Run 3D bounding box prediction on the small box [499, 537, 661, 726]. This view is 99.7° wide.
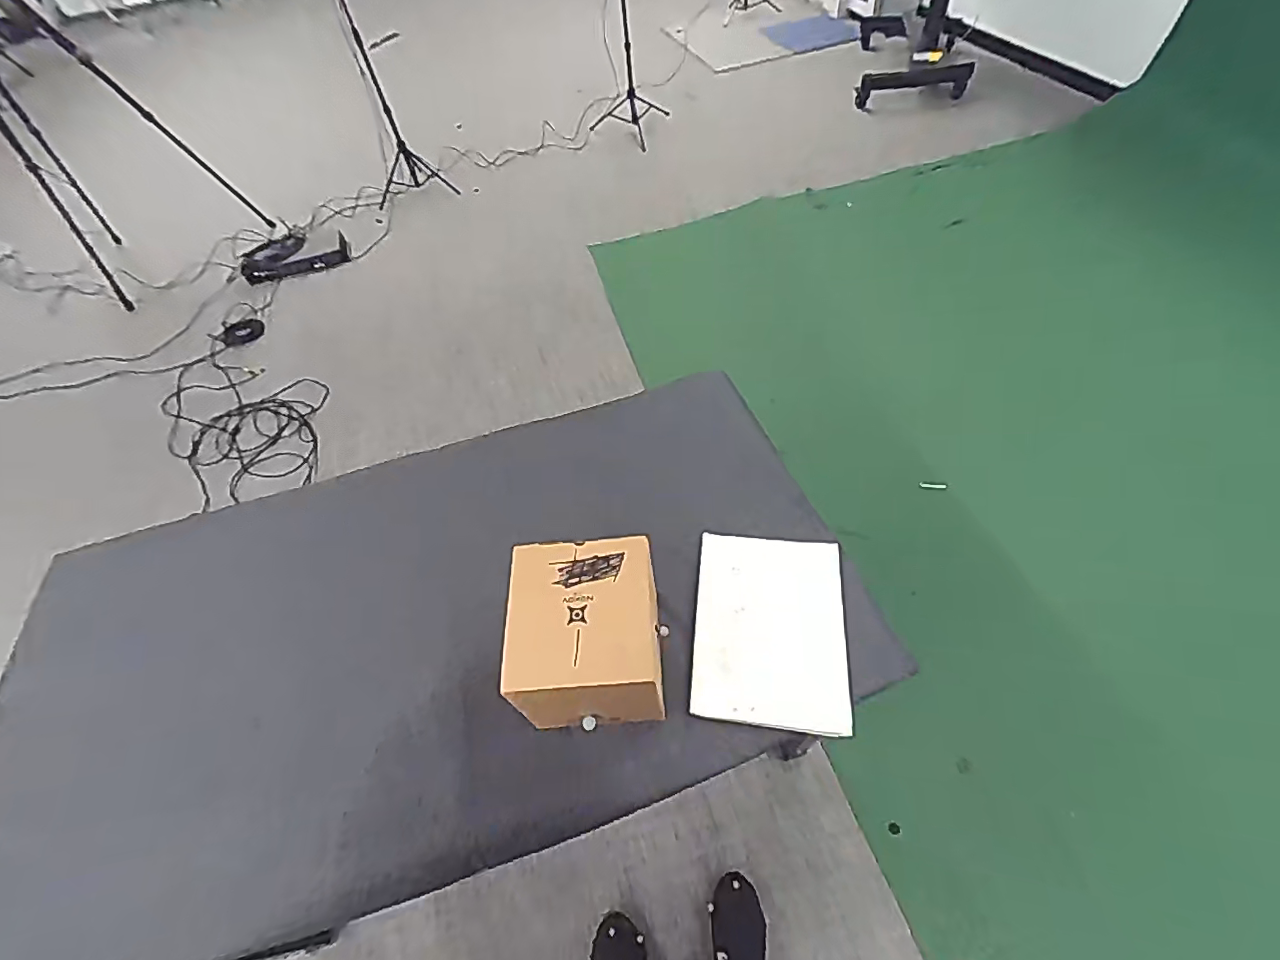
[{"bbox_3d":[-0.065,0.193,0.678,0.168,0.176,0.179,-6,54,3],"label":"small box"}]
